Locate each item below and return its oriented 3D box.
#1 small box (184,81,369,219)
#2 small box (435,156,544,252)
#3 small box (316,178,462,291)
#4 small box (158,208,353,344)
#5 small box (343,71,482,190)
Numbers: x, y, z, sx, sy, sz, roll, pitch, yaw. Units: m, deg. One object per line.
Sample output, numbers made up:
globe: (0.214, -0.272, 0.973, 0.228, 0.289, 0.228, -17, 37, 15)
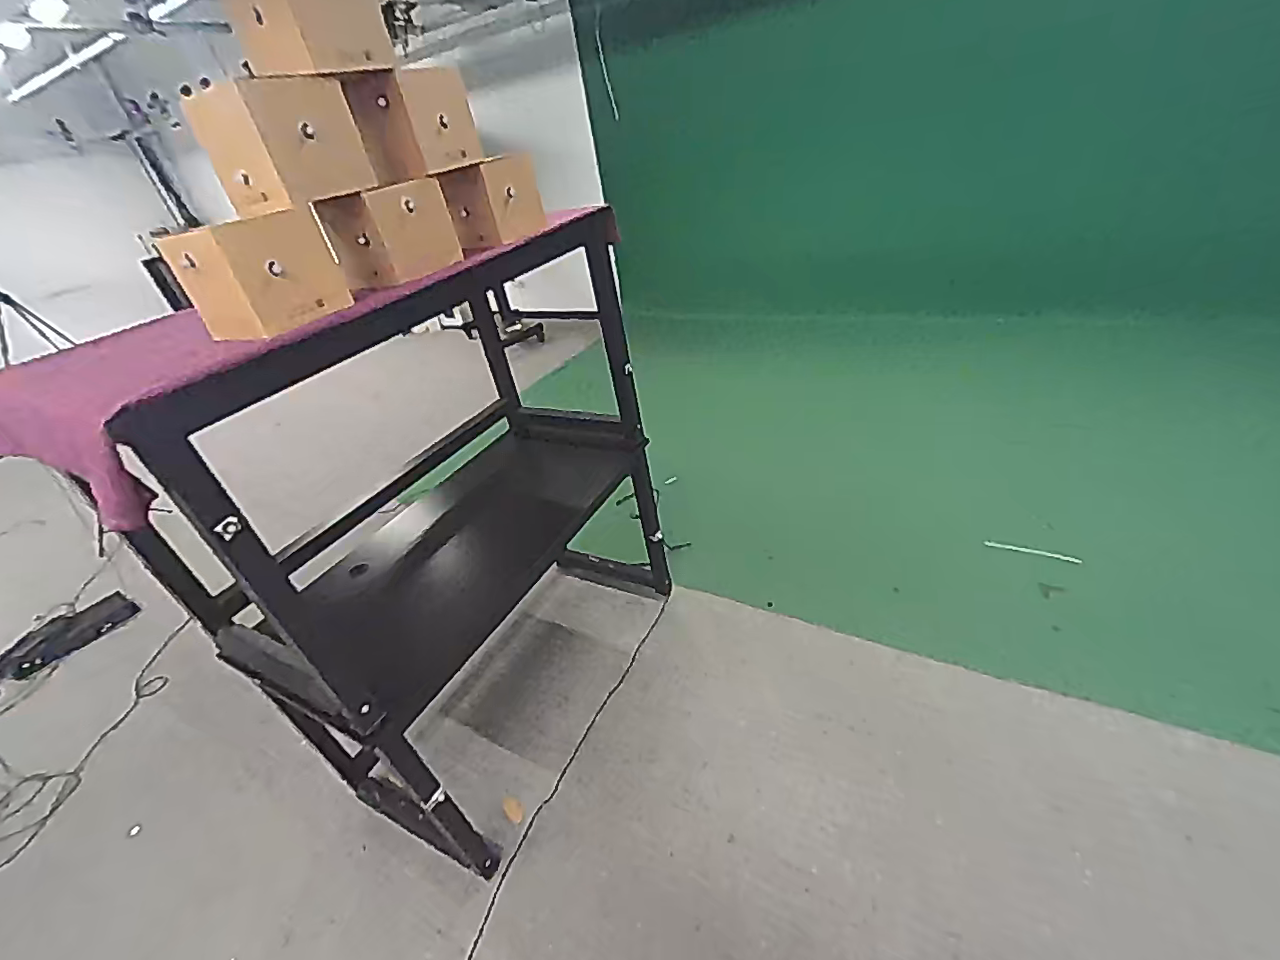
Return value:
small box: (-0.588, -0.546, 0.904, 0.168, 0.176, 0.179, 8, 38, 28)
small box: (-0.351, -0.645, 1.277, 0.168, 0.176, 0.179, 10, 40, 28)
small box: (-0.491, -0.483, 1.080, 0.168, 0.176, 0.179, 10, 39, 30)
small box: (-0.619, -0.331, 0.891, 0.179, 0.176, 0.168, 7, 37, 29)
small box: (-0.451, -0.697, 1.087, 0.179, 0.176, 0.168, 8, 39, 28)
